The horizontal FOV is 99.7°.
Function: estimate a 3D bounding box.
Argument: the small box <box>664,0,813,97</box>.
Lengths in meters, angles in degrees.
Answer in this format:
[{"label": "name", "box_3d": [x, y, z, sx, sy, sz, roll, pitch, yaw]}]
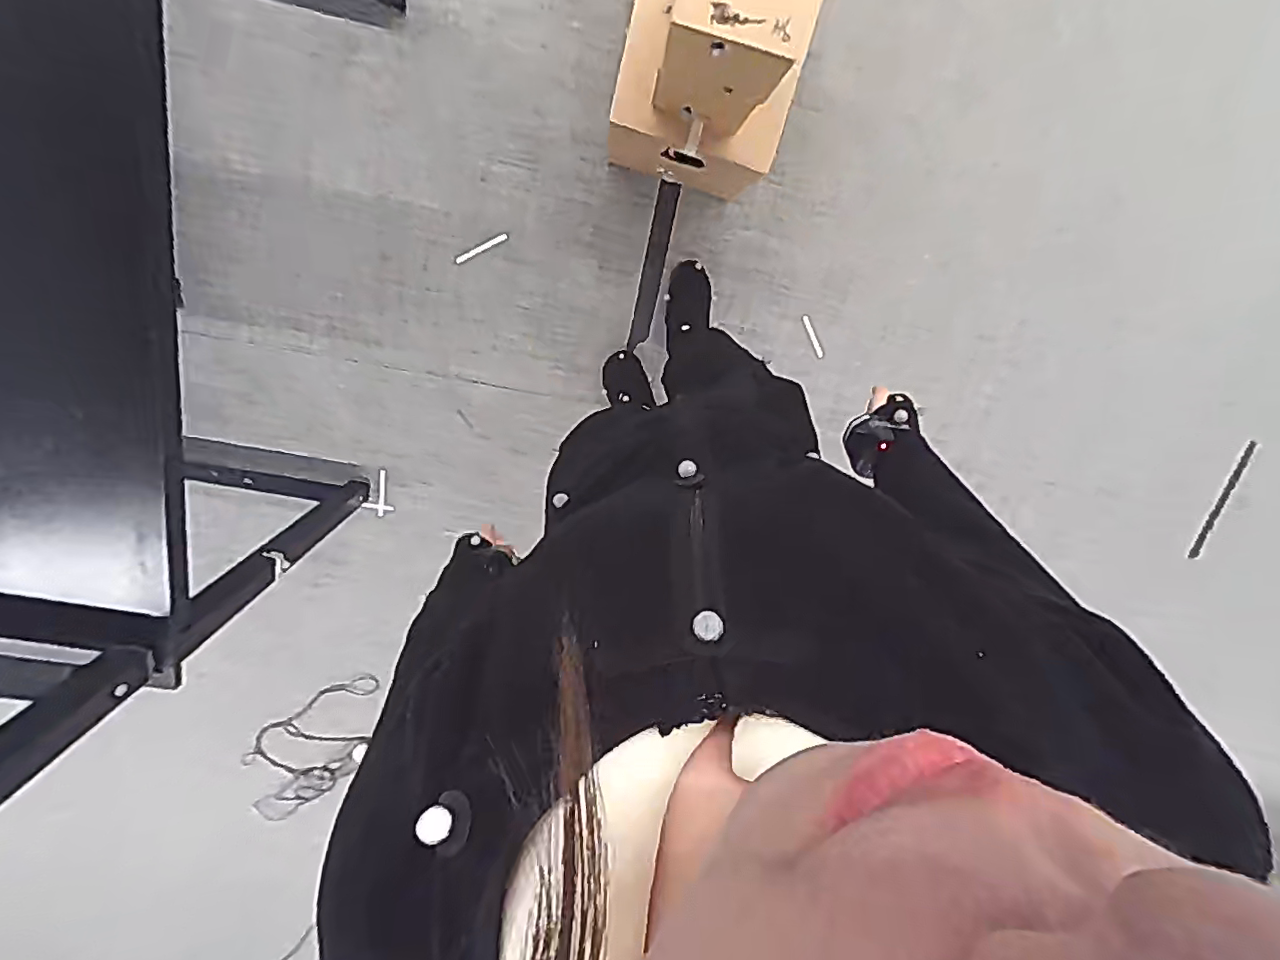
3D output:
[{"label": "small box", "box_3d": [0.133, -0.646, 0.703, 0.168, 0.176, 0.179, 13, 107, -6]}]

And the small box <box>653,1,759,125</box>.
[{"label": "small box", "box_3d": [0.122, -0.704, 0.857, 0.168, 0.176, 0.179, 14, 108, -7]}]

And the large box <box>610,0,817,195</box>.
[{"label": "large box", "box_3d": [0.131, -0.843, 1.068, 0.320, 0.320, 0.408, 13, 107, -9]}]
